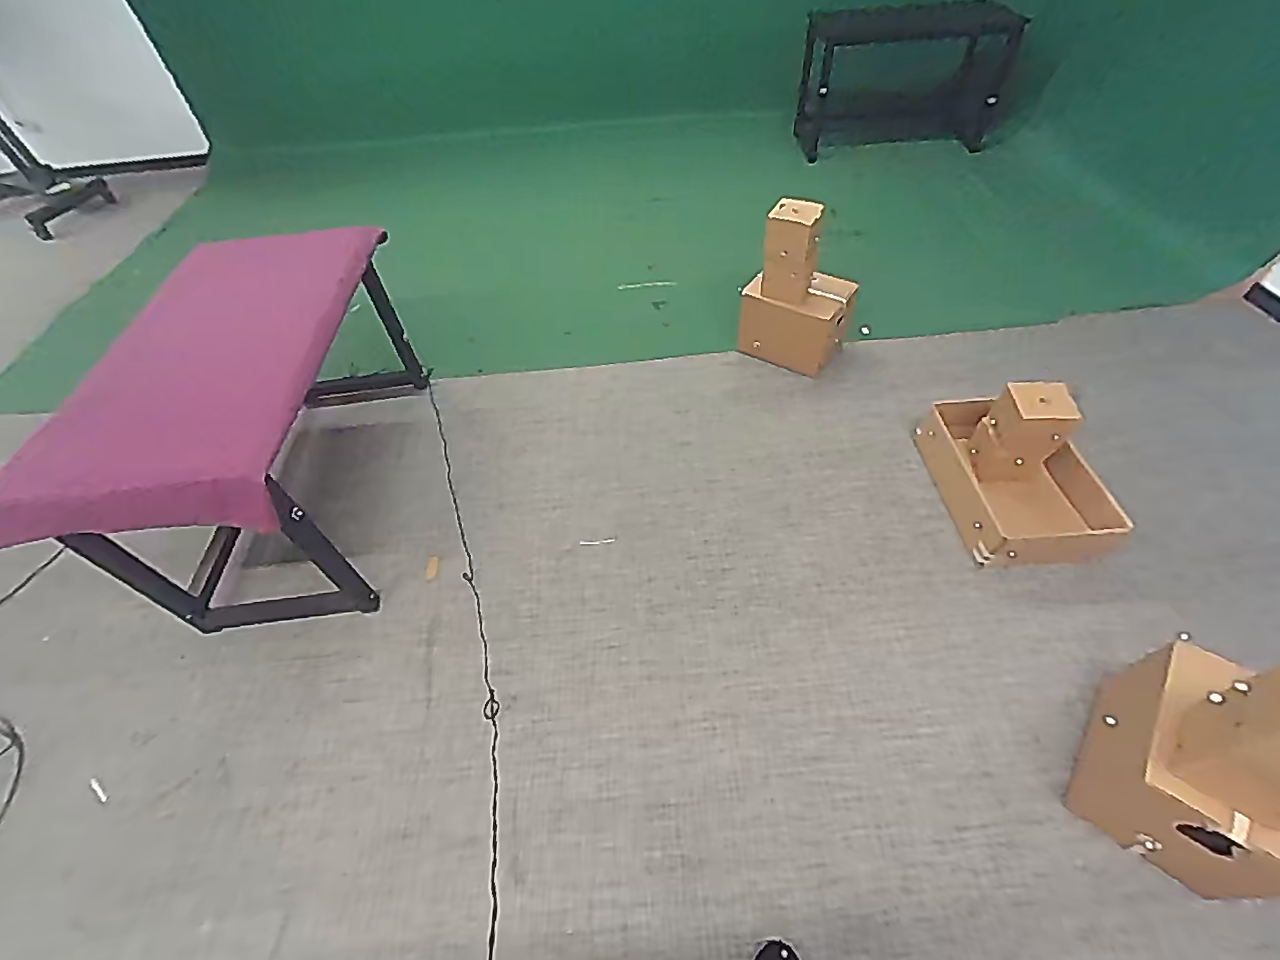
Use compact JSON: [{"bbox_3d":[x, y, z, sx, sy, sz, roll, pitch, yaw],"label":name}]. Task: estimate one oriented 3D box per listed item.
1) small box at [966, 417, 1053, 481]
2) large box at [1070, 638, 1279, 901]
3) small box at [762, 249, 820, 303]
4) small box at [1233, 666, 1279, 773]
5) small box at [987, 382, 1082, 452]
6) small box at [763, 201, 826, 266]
[{"bbox_3d":[1.309,-0.110,1.930,0.179,0.176,0.168,-2,54,4],"label":"small box"},{"bbox_3d":[1.297,0.669,1.266,0.320,0.320,0.408,31,58,25],"label":"large box"},{"bbox_3d":[0.626,-0.864,2.262,0.179,0.176,0.168,22,55,20],"label":"small box"},{"bbox_3d":[1.198,0.435,0.933,0.179,0.176,0.168,32,59,26],"label":"small box"},{"bbox_3d":[1.303,-0.207,1.799,0.179,0.176,0.168,1,53,7],"label":"small box"},{"bbox_3d":[0.608,-0.971,2.139,0.179,0.176,0.168,23,56,20],"label":"small box"}]
